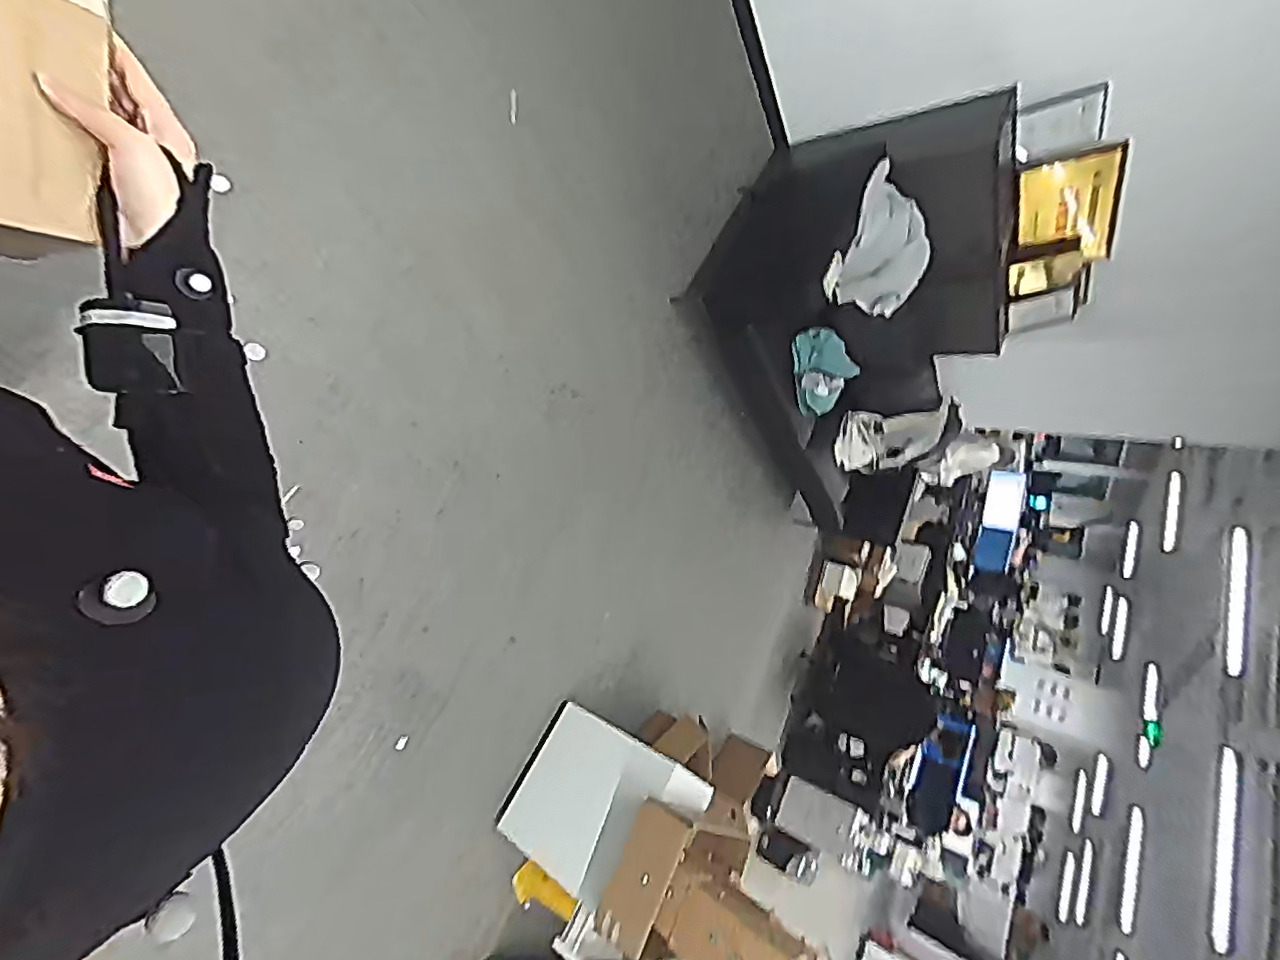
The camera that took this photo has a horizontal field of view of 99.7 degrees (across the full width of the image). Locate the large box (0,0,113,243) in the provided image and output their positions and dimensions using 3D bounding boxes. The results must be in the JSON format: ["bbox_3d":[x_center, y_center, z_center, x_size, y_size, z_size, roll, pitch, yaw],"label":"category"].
[{"bbox_3d":[-0.597,-0.347,0.284,0.408,0.320,0.320,-5,106,-56],"label":"large box"}]
